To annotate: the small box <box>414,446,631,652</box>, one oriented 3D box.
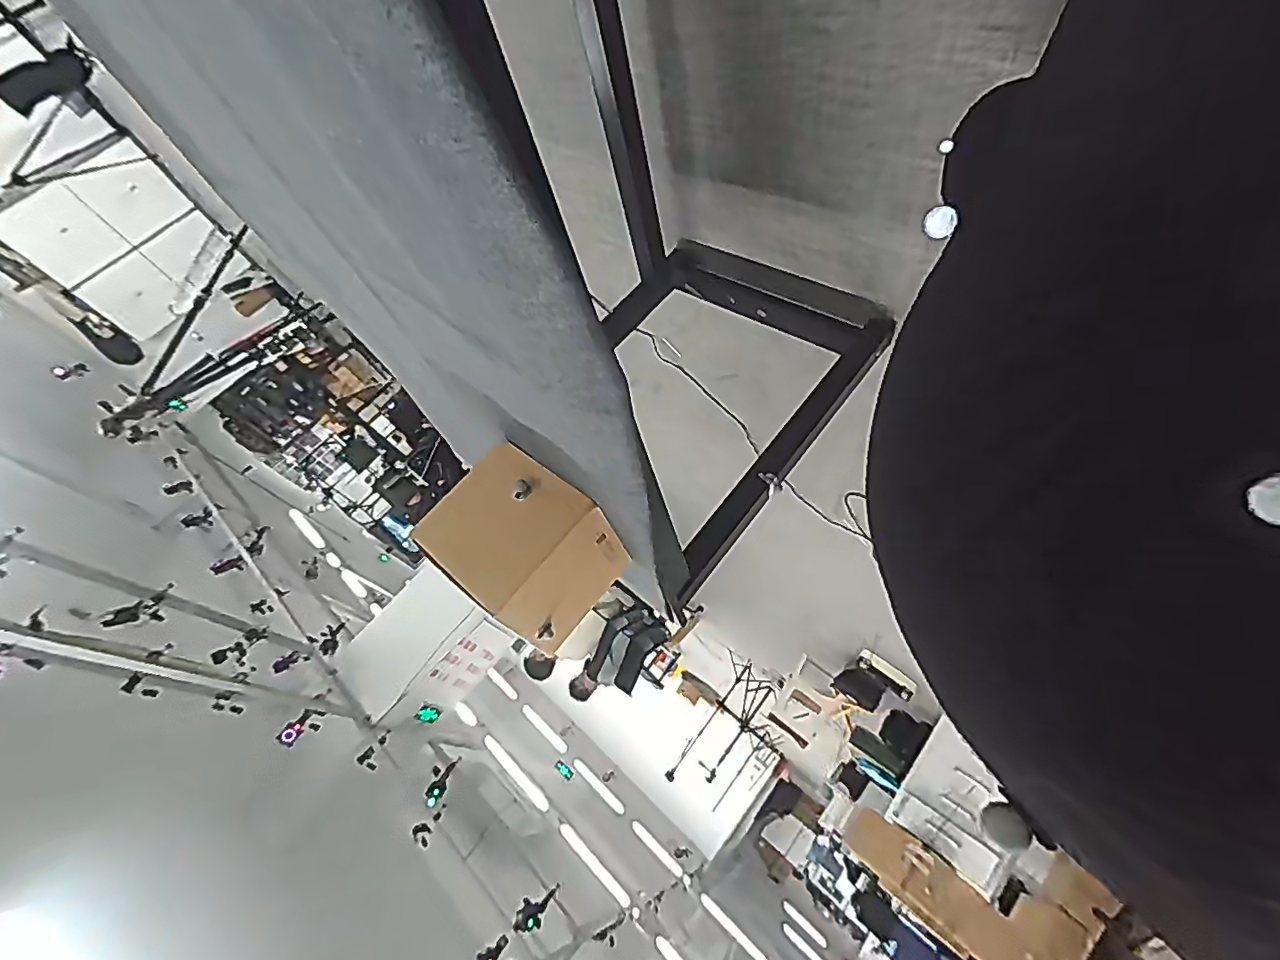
[{"bbox_3d":[-0.140,0.081,0.691,0.179,0.176,0.168,33,162,30],"label":"small box"}]
